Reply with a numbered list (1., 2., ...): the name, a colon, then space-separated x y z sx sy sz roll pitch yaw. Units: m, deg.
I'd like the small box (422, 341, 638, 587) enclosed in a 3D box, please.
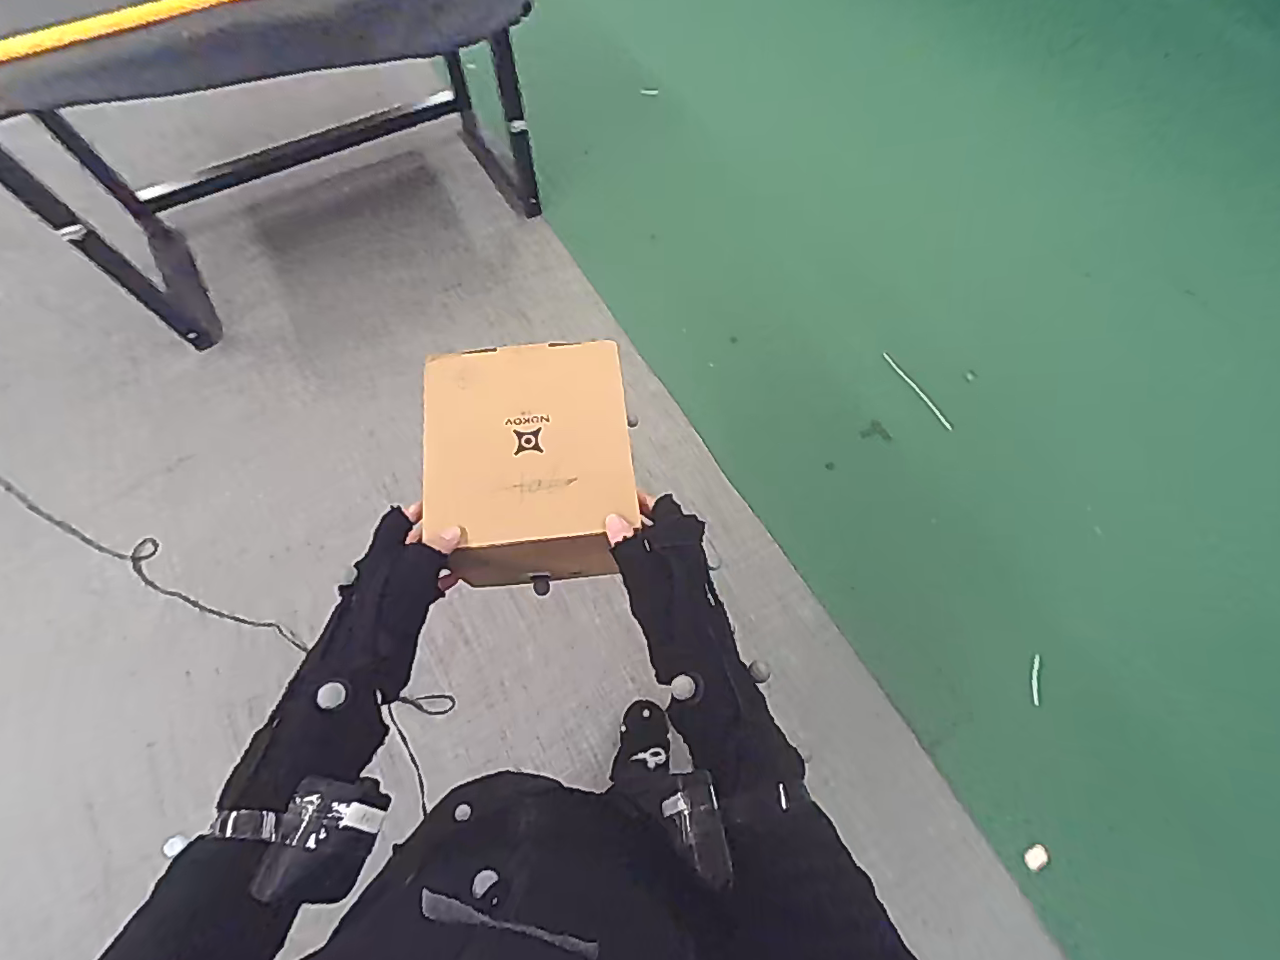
1. small box: -0.096 -0.007 0.515 0.168 0.176 0.179 -6 69 -5
